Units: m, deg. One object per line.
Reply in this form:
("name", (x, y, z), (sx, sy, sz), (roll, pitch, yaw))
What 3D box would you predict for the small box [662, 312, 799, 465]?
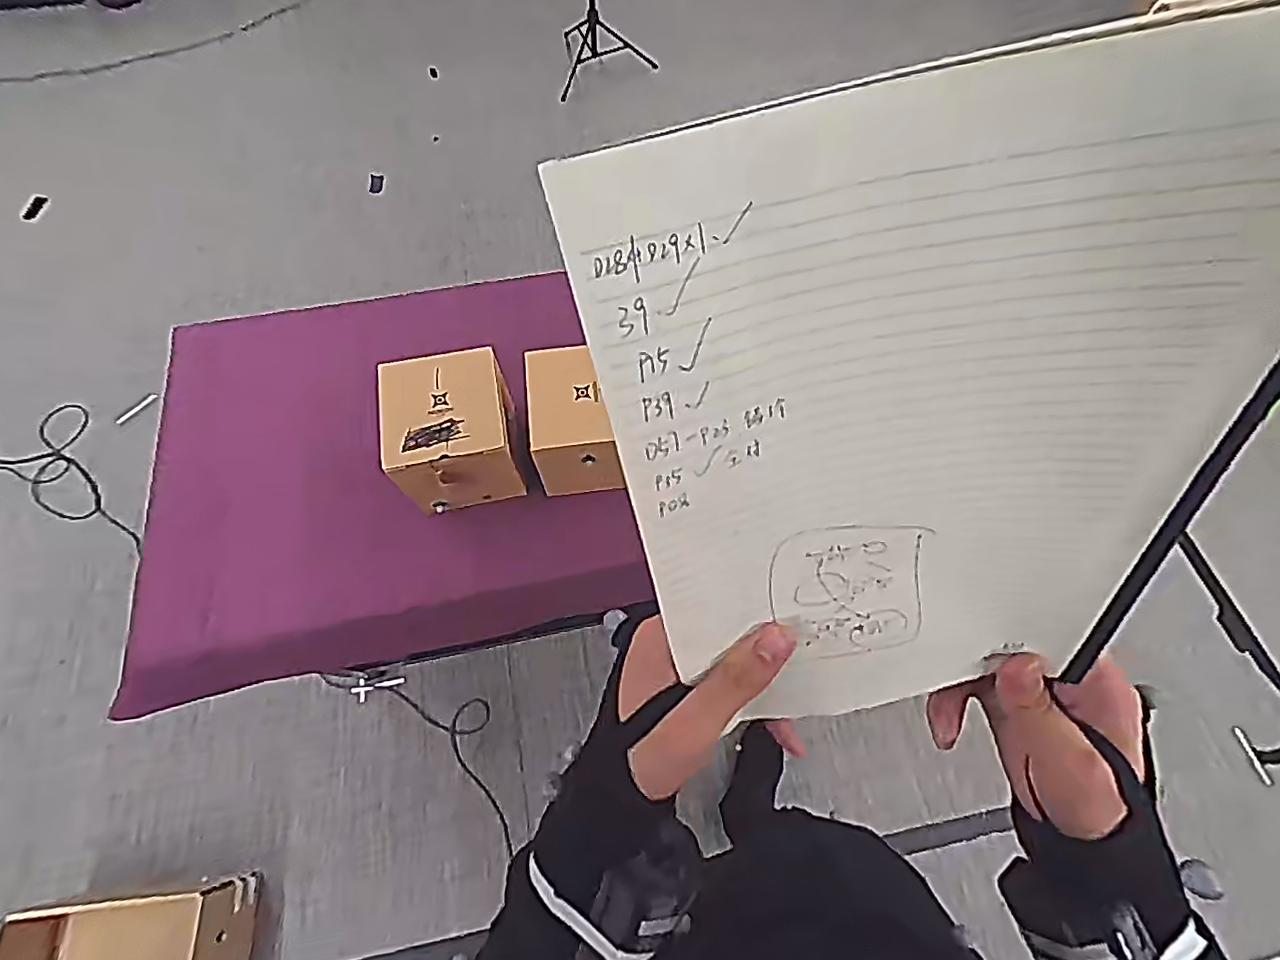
("small box", (0.132, -0.136, 0.861), (0.168, 0.176, 0.179), (-9, 66, -5))
